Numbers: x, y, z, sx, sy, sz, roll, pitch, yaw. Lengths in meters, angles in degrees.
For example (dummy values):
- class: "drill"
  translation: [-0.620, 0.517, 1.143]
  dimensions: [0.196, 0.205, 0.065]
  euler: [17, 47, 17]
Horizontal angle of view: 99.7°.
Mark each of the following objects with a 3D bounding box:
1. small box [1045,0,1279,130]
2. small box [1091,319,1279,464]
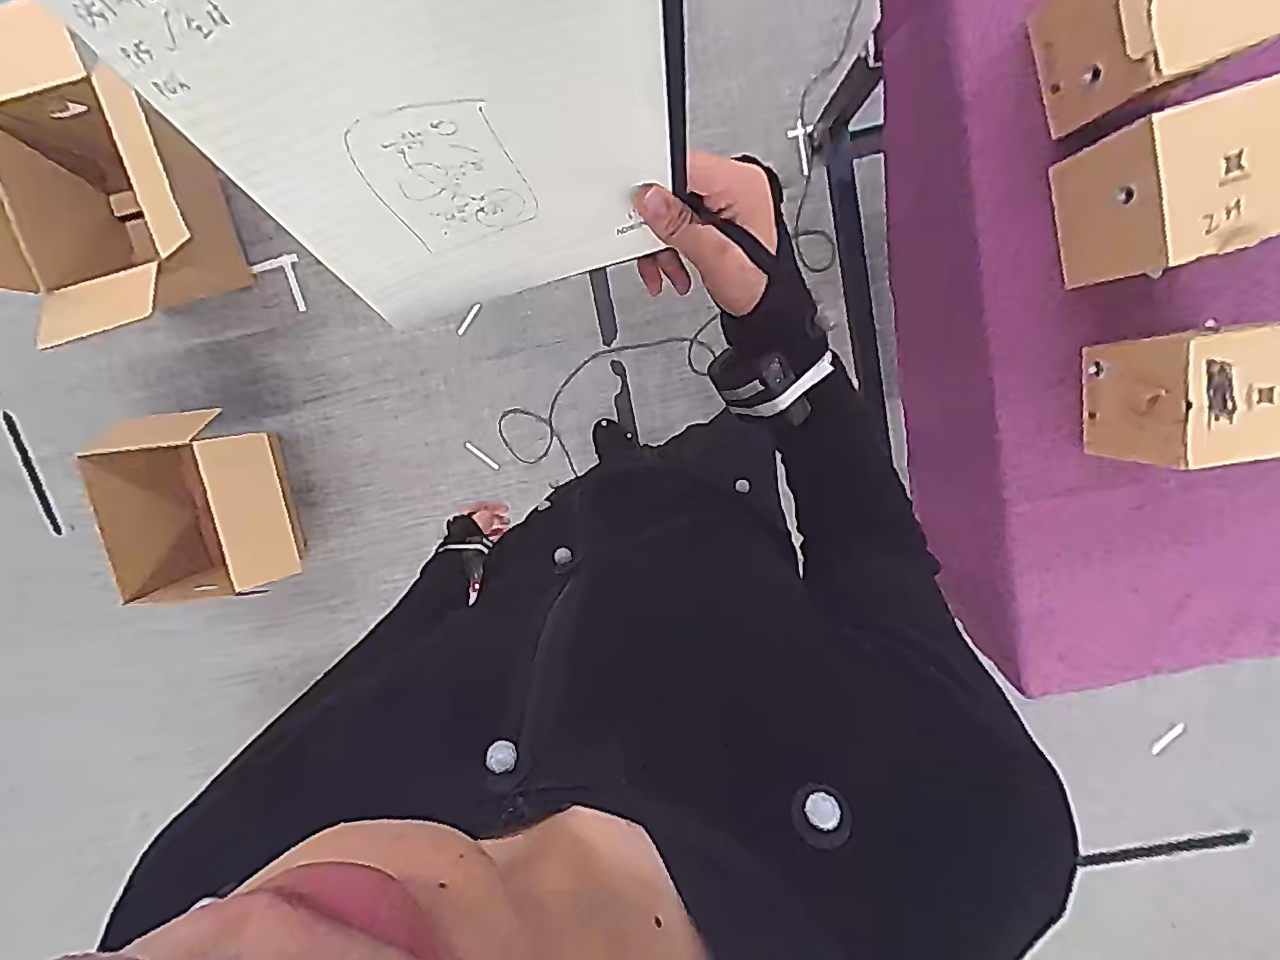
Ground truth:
- class: "small box"
  translation: [0.639, -0.572, 0.662]
  dimensions: [0.179, 0.176, 0.168]
  euler: [-19, 101, 5]
- class: "small box"
  translation: [0.767, -0.123, 0.743]
  dimensions: [0.179, 0.176, 0.168]
  euler: [-9, 101, 2]
